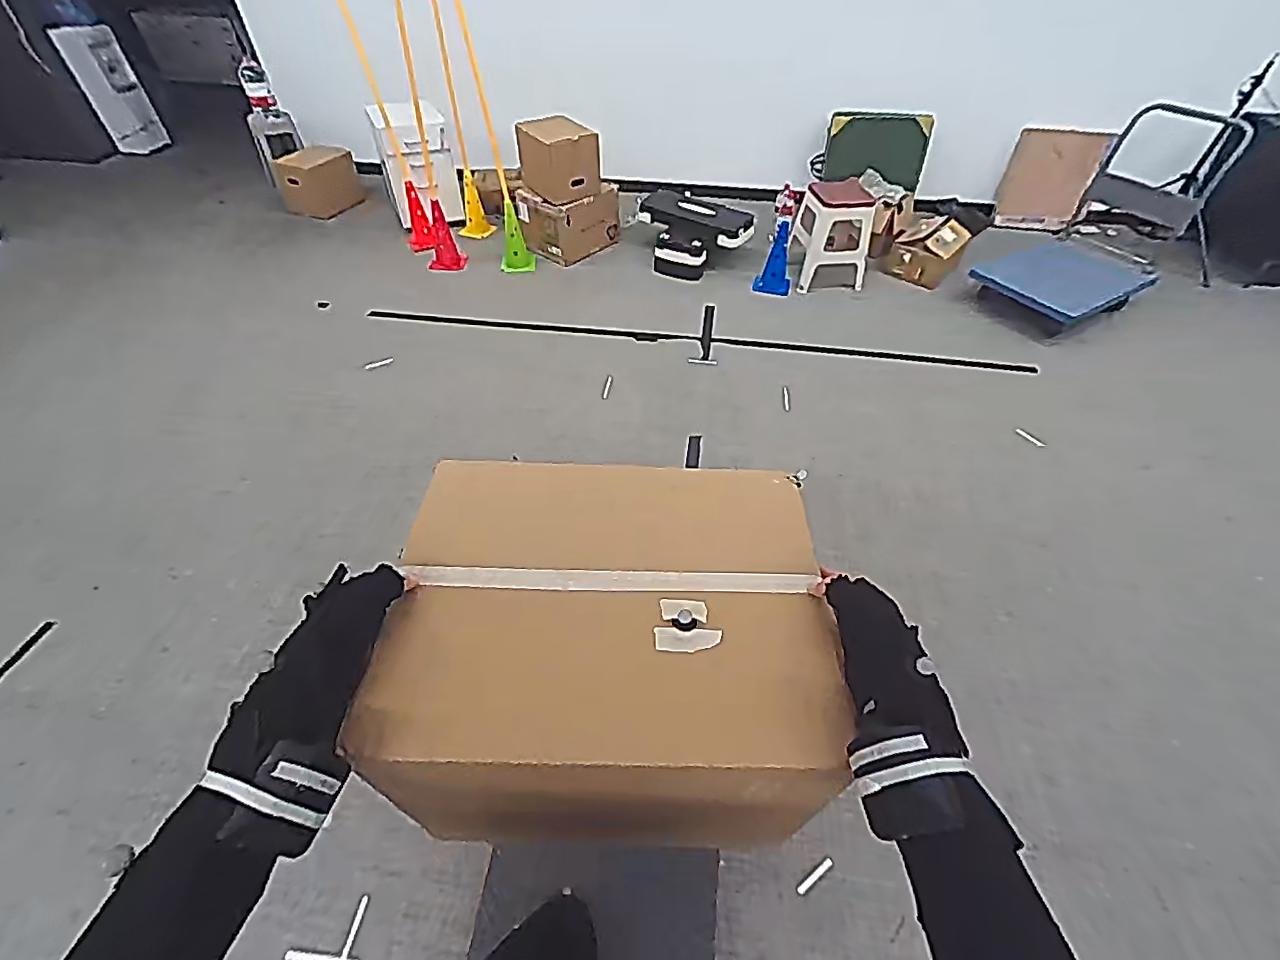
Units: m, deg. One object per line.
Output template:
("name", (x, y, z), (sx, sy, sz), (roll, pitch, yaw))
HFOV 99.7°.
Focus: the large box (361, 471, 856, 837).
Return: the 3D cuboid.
("large box", (-0.029, 0.207, 0.636), (0.408, 0.320, 0.320), (2, 47, -1))
